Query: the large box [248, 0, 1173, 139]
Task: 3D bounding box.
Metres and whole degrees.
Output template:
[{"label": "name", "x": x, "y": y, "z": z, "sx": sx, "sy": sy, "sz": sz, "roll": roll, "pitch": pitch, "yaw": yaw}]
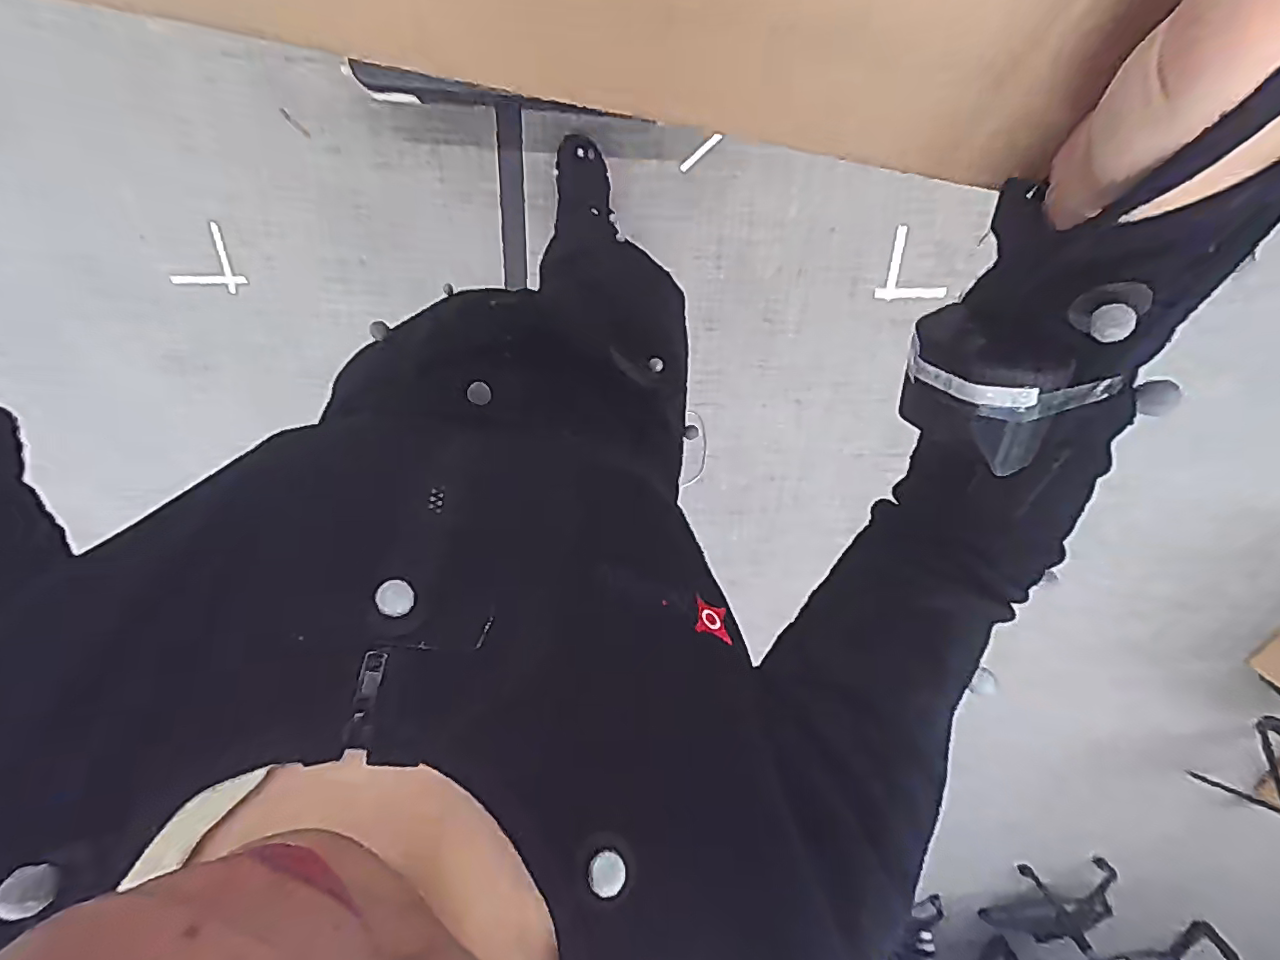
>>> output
[{"label": "large box", "x": -0.014, "y": -0.342, "z": 0.105, "sx": 0.408, "sy": 0.320, "sz": 0.320, "roll": 6, "pitch": 158, "yaw": -7}]
